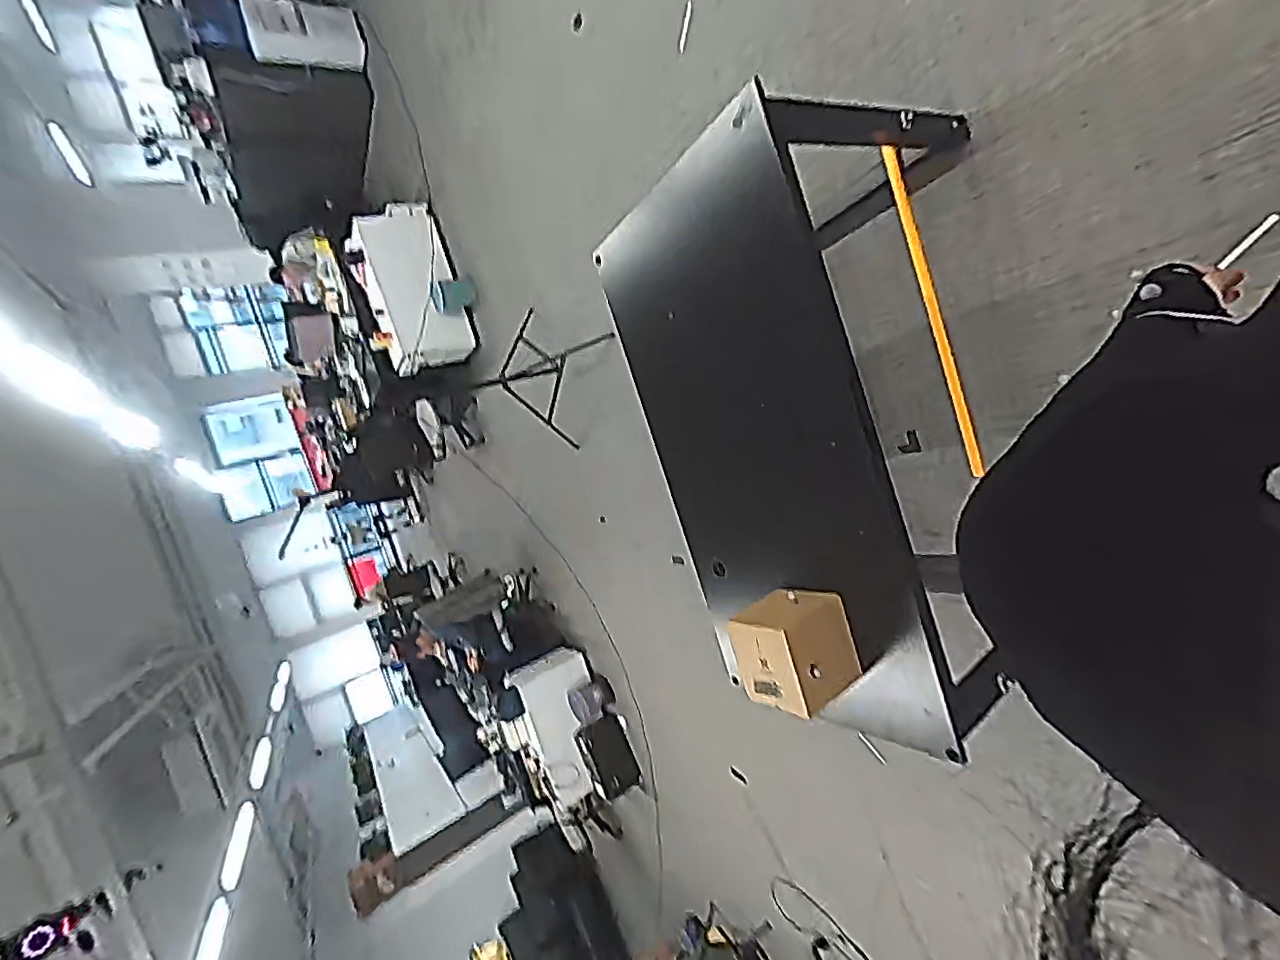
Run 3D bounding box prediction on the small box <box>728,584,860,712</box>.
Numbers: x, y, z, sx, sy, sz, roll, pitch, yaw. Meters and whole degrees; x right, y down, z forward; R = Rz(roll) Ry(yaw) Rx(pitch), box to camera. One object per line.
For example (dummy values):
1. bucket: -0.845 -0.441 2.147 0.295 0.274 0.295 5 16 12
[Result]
1. small box: 0.311 0.327 1.086 0.168 0.176 0.179 -12 97 58
